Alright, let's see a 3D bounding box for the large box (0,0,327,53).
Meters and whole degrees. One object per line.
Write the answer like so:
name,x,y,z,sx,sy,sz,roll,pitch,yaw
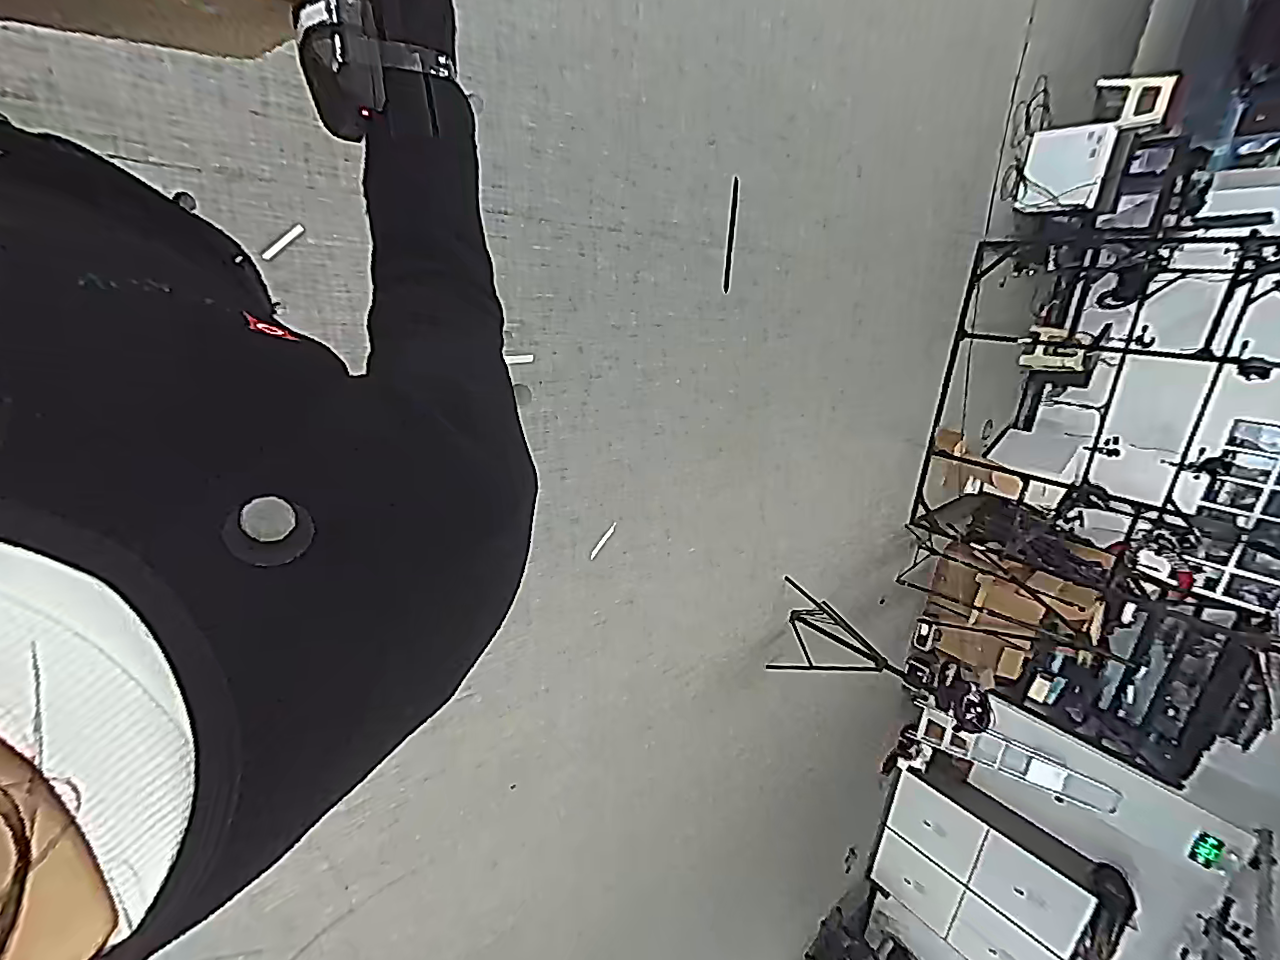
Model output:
large box,-0.431,-0.434,0.246,0.408,0.320,0.320,-20,128,-37
